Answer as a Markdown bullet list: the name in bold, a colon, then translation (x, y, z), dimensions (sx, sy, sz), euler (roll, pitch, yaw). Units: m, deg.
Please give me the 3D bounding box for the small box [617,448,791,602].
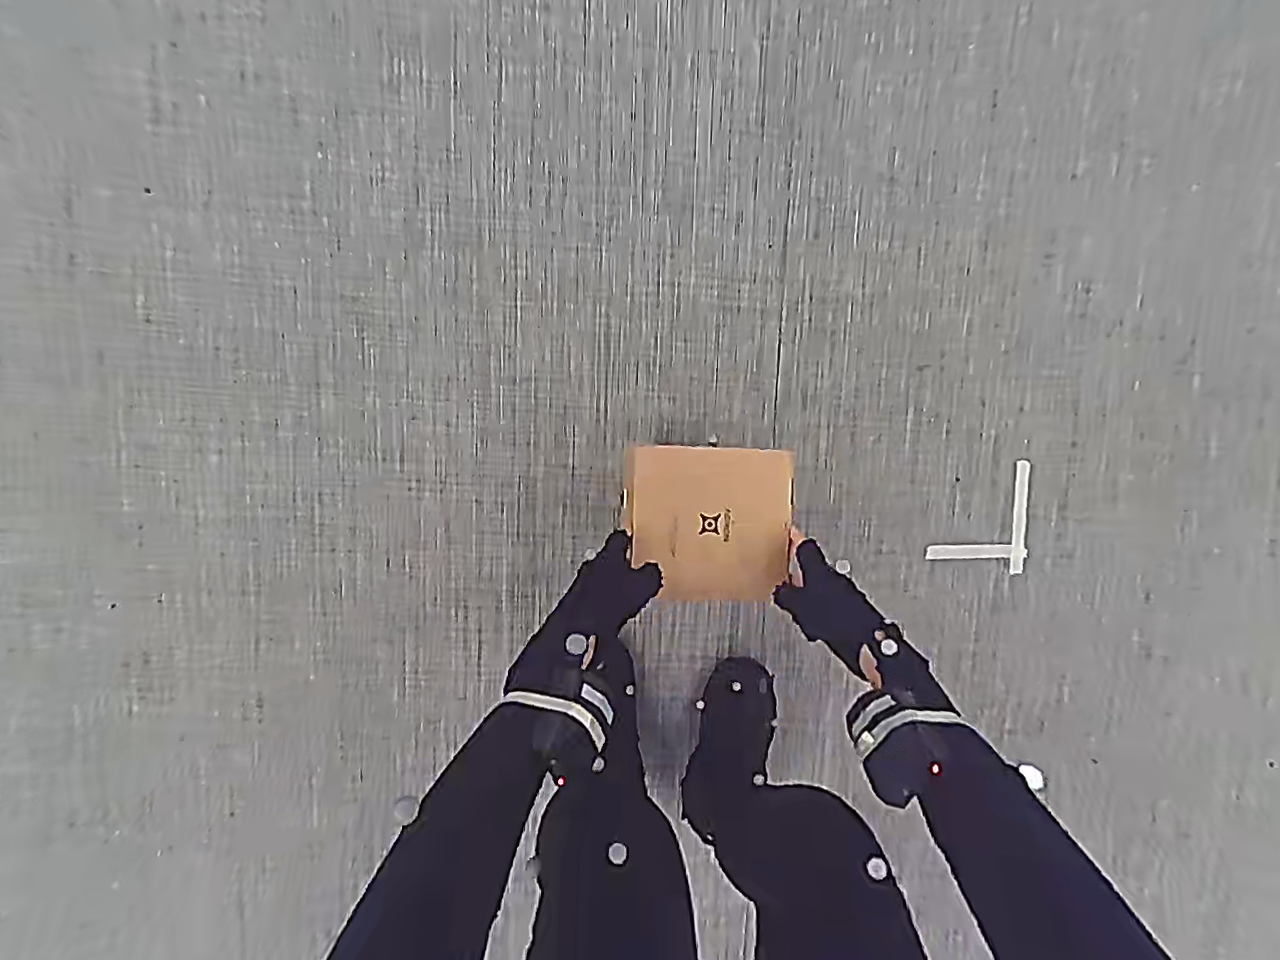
- **small box**: translation (0.067, 0.046, 0.661), dimensions (0.179, 0.176, 0.168), euler (1, 93, -5)
